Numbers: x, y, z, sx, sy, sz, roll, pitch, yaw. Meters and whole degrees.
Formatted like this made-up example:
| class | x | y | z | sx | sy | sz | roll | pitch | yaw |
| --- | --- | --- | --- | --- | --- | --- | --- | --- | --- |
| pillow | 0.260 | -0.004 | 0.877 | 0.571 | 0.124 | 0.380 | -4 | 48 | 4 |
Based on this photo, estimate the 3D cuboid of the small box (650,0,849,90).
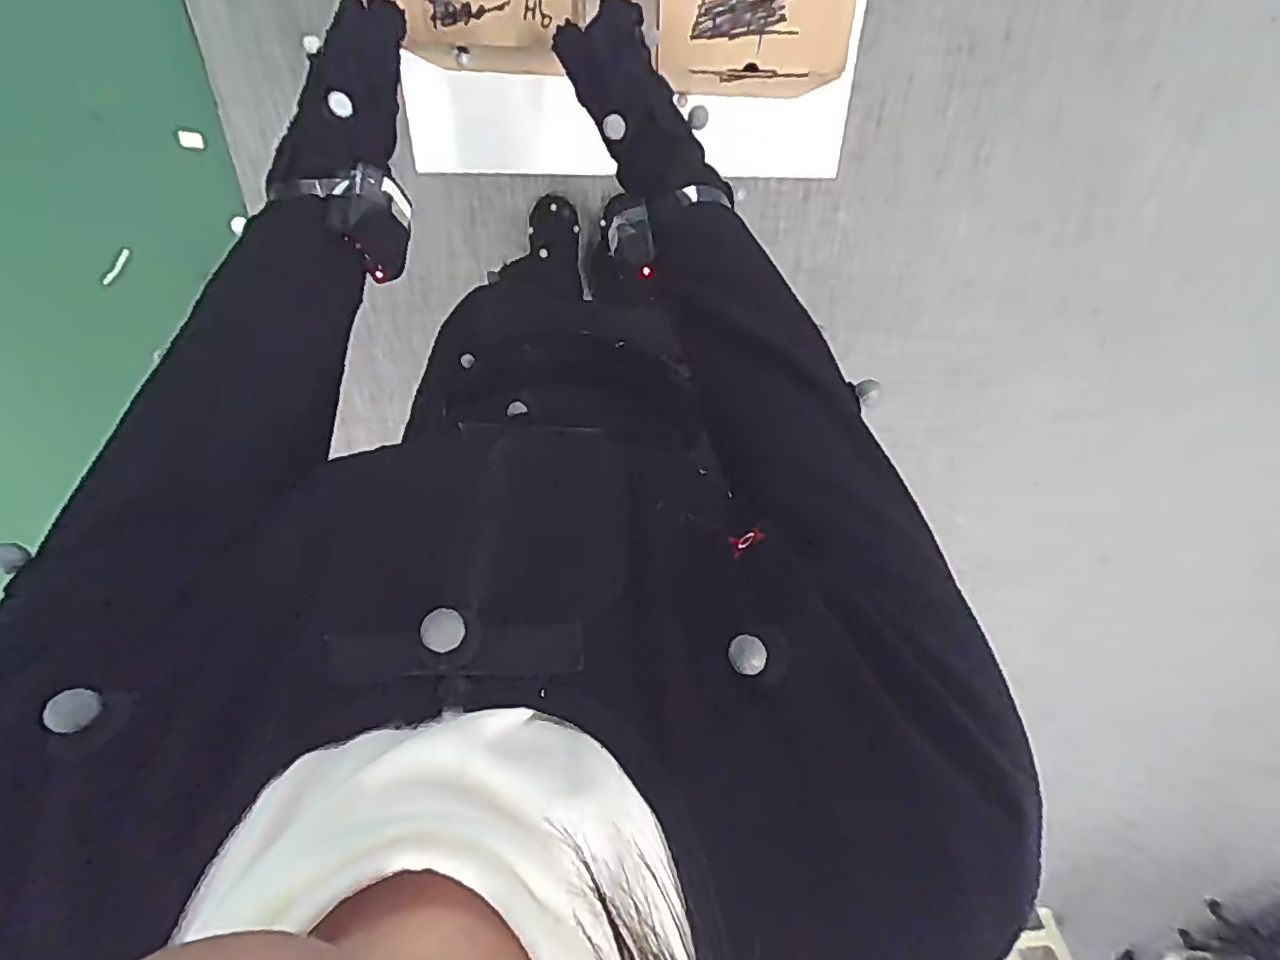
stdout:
| class | x | y | z | sx | sy | sz | roll | pitch | yaw |
| --- | --- | --- | --- | --- | --- | --- | --- | --- | --- |
| small box | 0.097 | -0.478 | 0.499 | 0.168 | 0.176 | 0.179 | 2 | 119 | -1 |

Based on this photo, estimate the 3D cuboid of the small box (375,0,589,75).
| class | x | y | z | sx | sy | sz | roll | pitch | yaw |
| --- | --- | --- | --- | --- | --- | --- | --- | --- | --- |
| small box | -0.135 | -0.495 | 0.490 | 0.168 | 0.176 | 0.179 | 3 | 119 | -1 |
